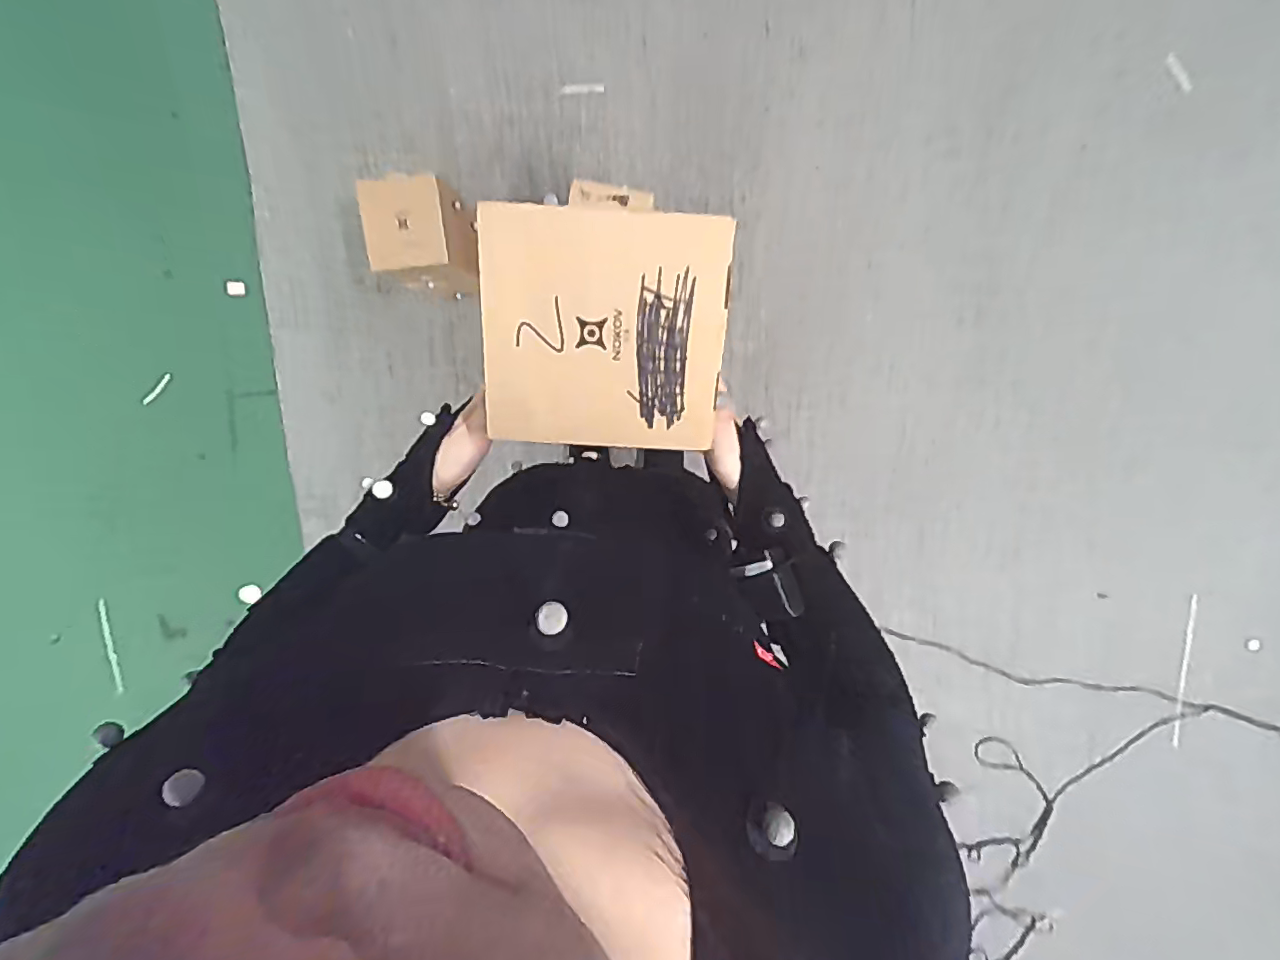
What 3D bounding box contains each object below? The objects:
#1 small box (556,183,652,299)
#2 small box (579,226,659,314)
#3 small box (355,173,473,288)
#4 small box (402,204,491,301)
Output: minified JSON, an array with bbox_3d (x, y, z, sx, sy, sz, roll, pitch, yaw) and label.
[{"bbox_3d":[-0.070,-0.496,1.149,0.168,0.176,0.179,12,101,-1],"label":"small box"},{"bbox_3d":[-0.048,-0.512,1.311,0.168,0.176,0.179,8,101,0],"label":"small box"},{"bbox_3d":[-0.472,-0.524,1.154,0.168,0.176,0.179,-6,100,4],"label":"small box"},{"bbox_3d":[-0.475,-0.546,1.315,0.168,0.176,0.179,-6,100,2],"label":"small box"}]
